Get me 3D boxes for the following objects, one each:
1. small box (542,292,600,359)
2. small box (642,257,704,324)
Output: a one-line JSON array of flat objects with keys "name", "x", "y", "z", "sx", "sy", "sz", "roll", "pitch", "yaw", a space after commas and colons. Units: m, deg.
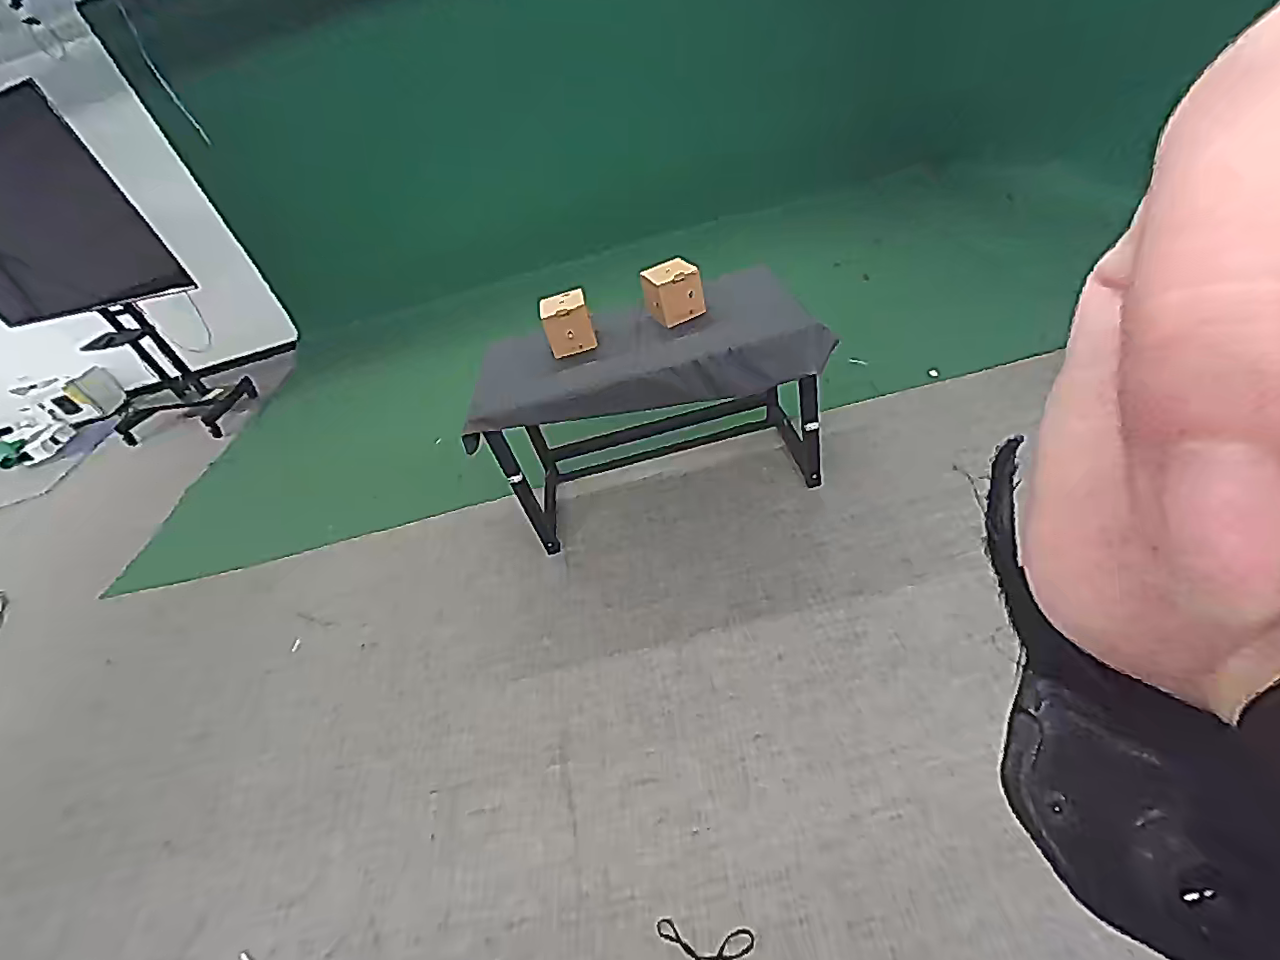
[{"name": "small box", "x": -0.259, "y": -0.573, "z": 2.029, "sx": 0.168, "sy": 0.176, "sz": 0.179, "roll": -19, "pitch": 39, "yaw": 0}, {"name": "small box", "x": 0.125, "y": -0.697, "z": 2.000, "sx": 0.168, "sy": 0.176, "sz": 0.179, "roll": -22, "pitch": 40, "yaw": -8}]
